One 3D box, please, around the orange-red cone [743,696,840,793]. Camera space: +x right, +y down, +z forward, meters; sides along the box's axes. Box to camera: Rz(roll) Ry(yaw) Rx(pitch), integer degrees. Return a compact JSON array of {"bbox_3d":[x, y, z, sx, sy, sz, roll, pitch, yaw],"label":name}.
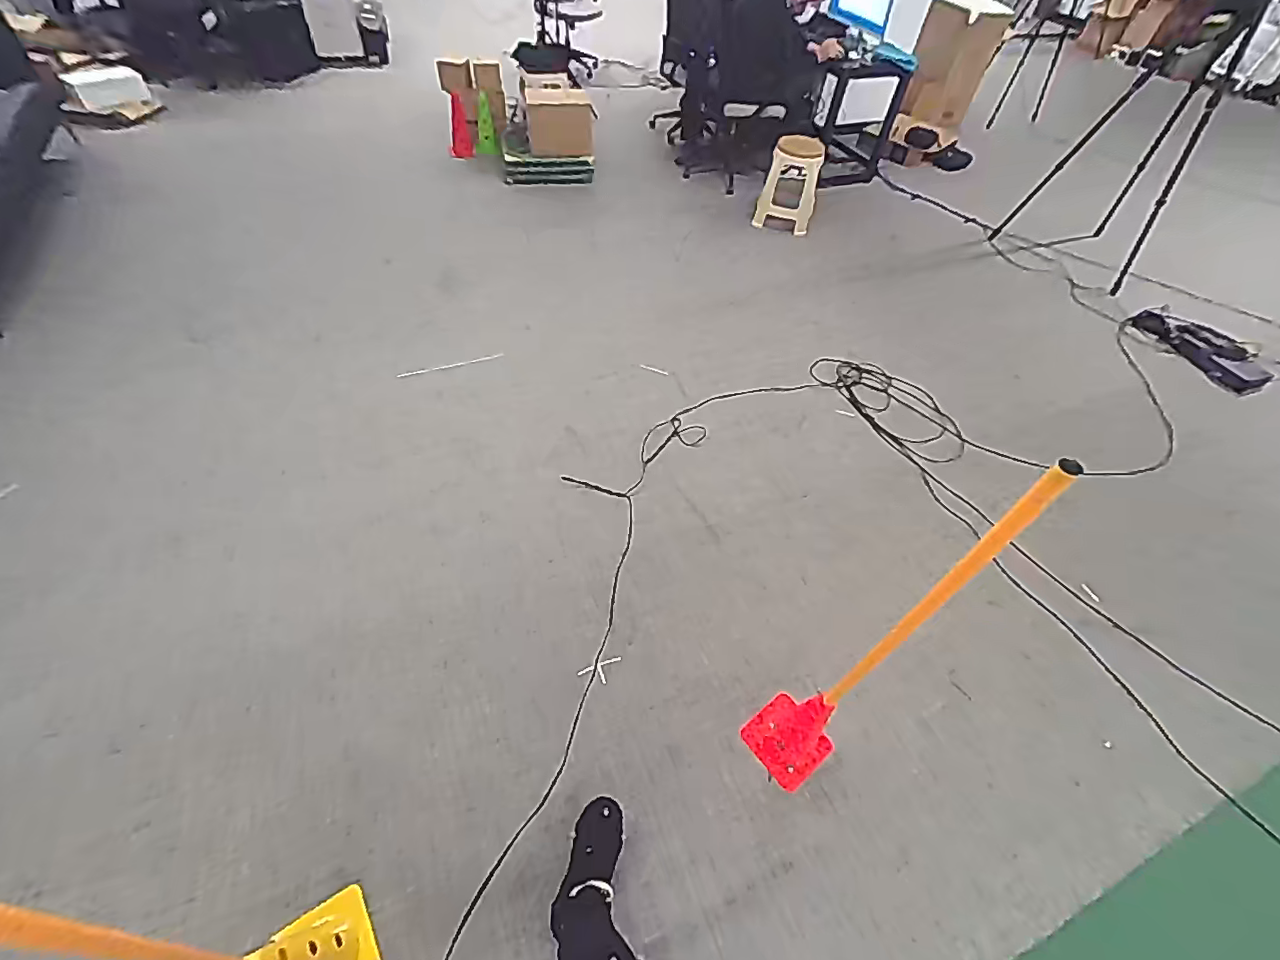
[{"bbox_3d":[0.427,0.624,1.377,0.199,0.360,0.198,-28,59,-26],"label":"orange-red cone"}]
